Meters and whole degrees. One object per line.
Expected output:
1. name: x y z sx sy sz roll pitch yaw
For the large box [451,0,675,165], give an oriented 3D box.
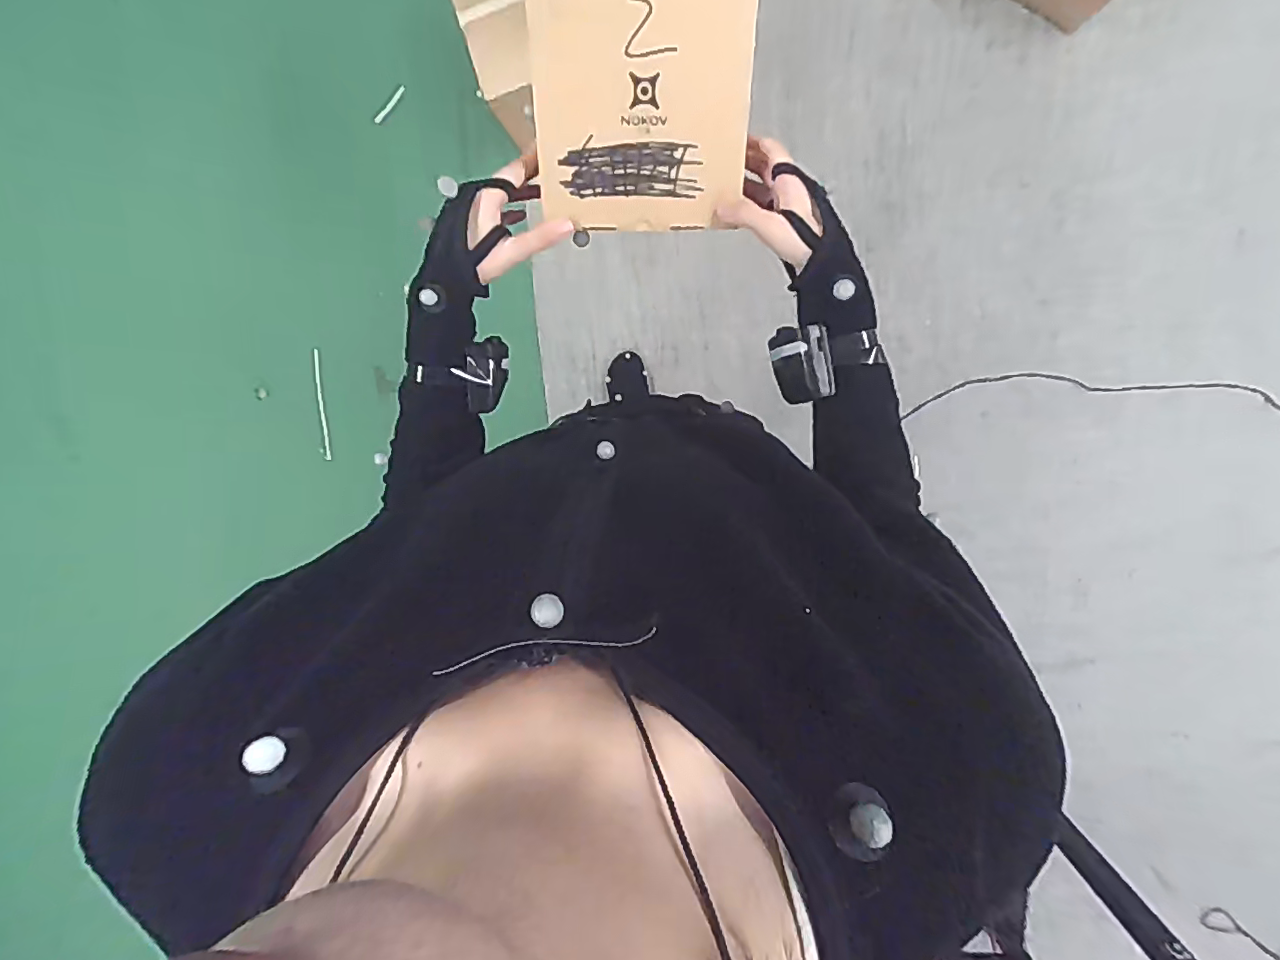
1. large box: -0.160 -0.991 1.218 0.408 0.320 0.320 -17 96 8
